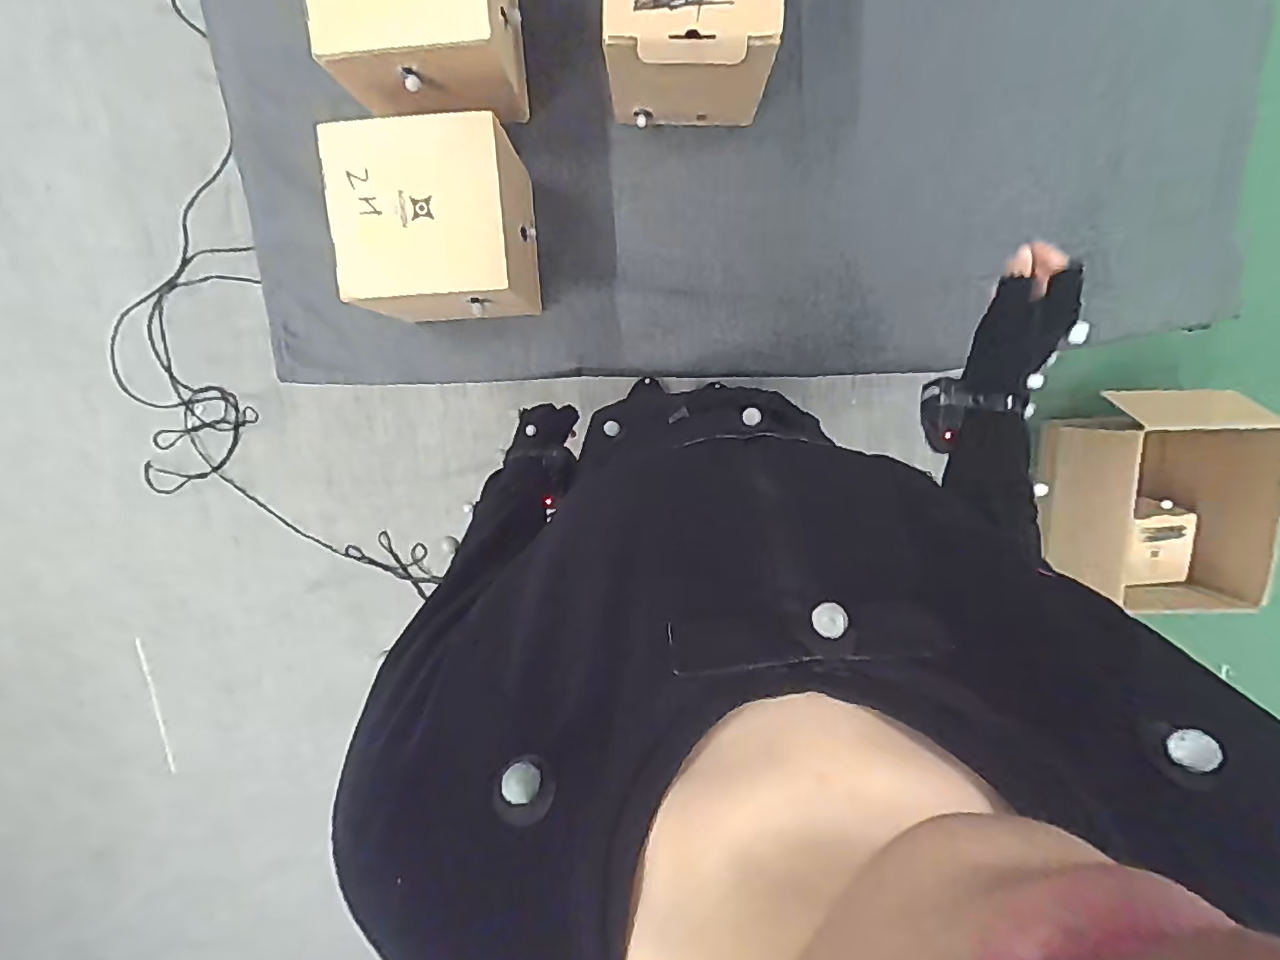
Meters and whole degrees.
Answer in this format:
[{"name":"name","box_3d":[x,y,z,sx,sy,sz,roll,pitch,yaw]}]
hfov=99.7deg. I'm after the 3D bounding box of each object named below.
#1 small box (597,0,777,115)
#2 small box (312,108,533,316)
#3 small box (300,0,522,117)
[{"name":"small box","box_3d":[0.048,-0.505,0.554,0.168,0.176,0.179,2,100,2]},{"name":"small box","box_3d":[-0.221,-0.281,0.604,0.179,0.176,0.168,-3,99,2]},{"name":"small box","box_3d":[-0.229,-0.502,0.567,0.179,0.176,0.168,-4,101,4]}]
